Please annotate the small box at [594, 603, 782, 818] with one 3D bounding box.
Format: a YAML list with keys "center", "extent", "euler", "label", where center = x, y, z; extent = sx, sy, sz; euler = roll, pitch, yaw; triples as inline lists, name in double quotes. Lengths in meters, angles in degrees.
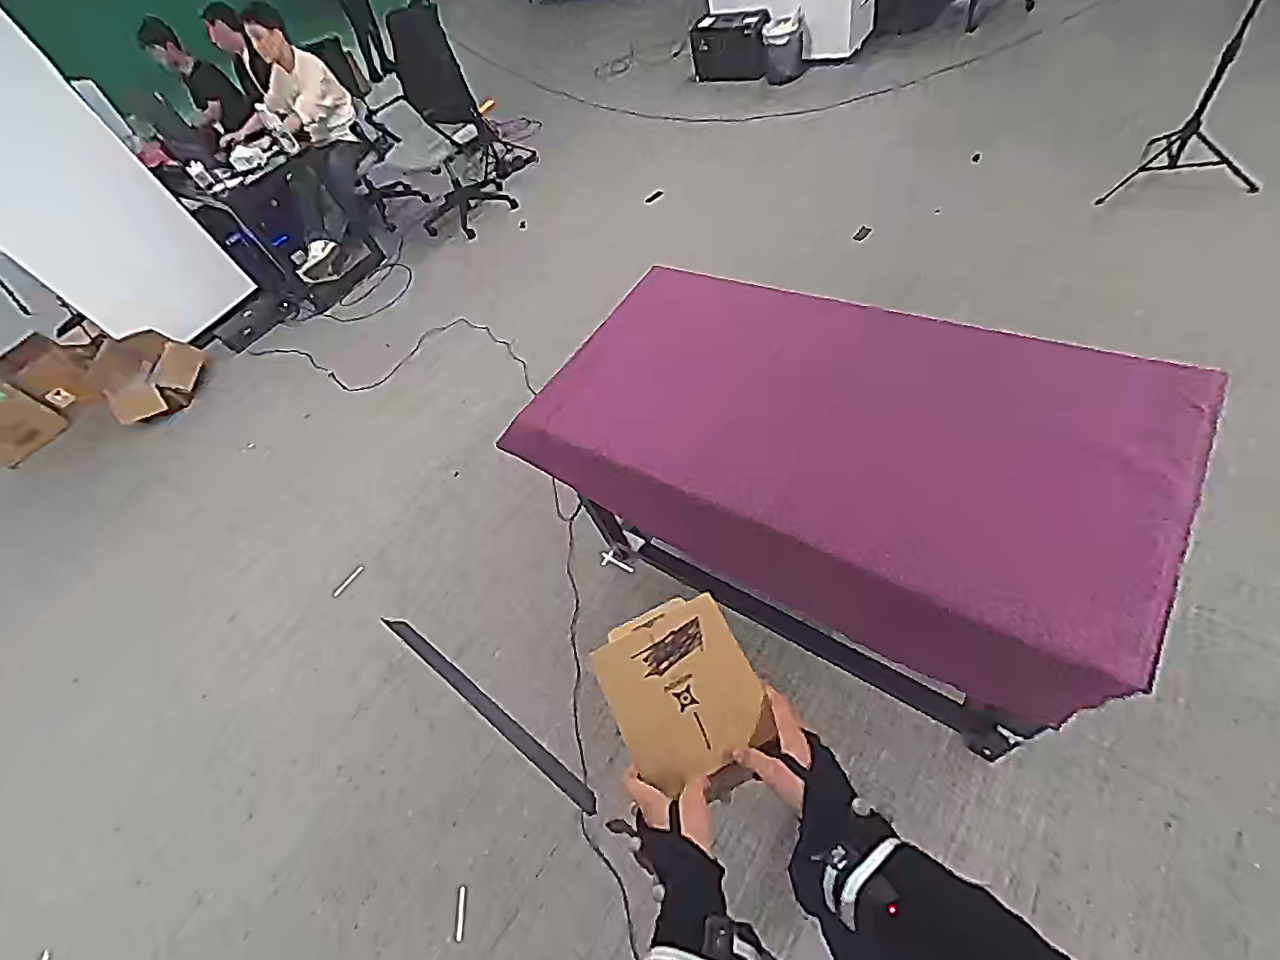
- center: [0.060, 0.298, 0.695]
  extent: [0.168, 0.176, 0.179]
  euler: [-26, 52, -10]
  label: "small box"
